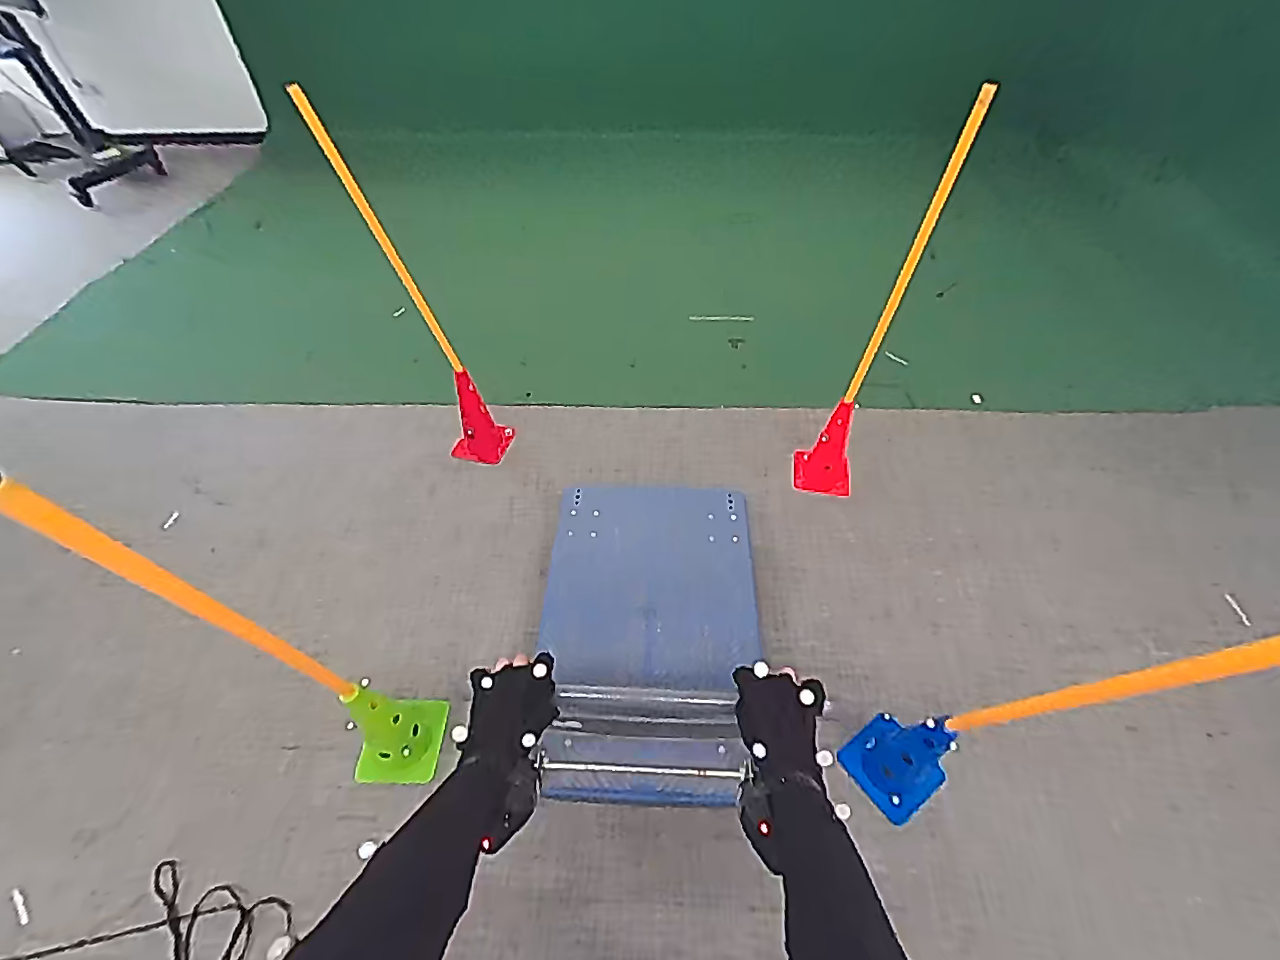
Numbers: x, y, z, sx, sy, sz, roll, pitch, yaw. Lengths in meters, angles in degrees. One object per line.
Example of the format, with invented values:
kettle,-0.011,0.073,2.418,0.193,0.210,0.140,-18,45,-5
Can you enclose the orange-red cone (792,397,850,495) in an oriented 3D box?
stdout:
orange-red cone,0.660,-0.138,1.864,0.198,0.360,0.199,9,51,9
